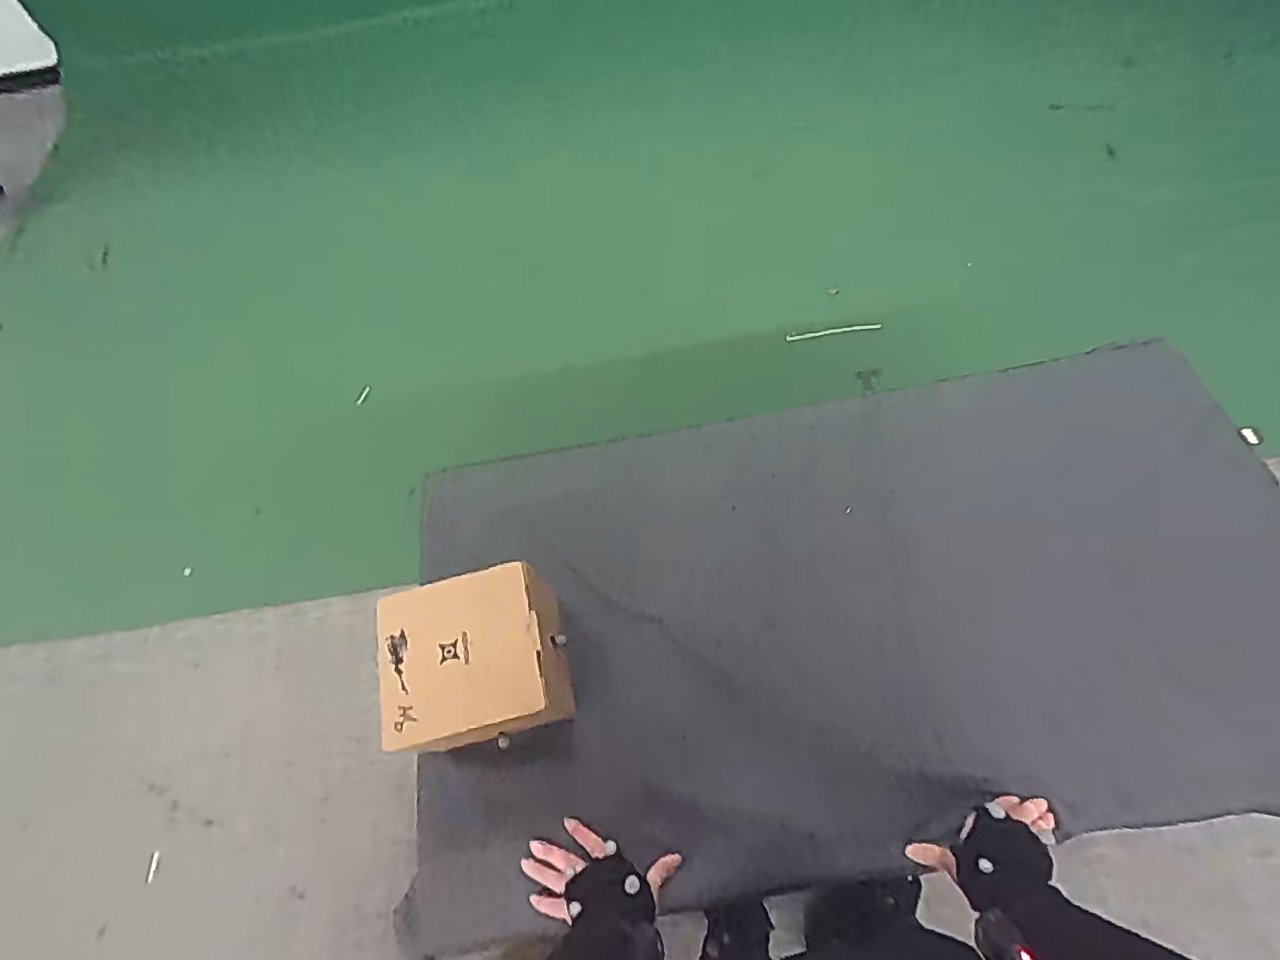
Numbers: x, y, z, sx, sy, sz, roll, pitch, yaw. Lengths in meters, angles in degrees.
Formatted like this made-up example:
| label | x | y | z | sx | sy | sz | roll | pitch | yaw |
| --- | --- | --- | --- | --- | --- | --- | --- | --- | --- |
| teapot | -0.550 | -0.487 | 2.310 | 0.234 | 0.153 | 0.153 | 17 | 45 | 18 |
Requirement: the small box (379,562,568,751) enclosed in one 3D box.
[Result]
| label | x | y | z | sx | sy | sz | roll | pitch | yaw |
| --- | --- | --- | --- | --- | --- | --- | --- | --- | --- |
| small box | -0.190 | 0.217 | 0.655 | 0.179 | 0.176 | 0.168 | -14 | 64 | -3 |
